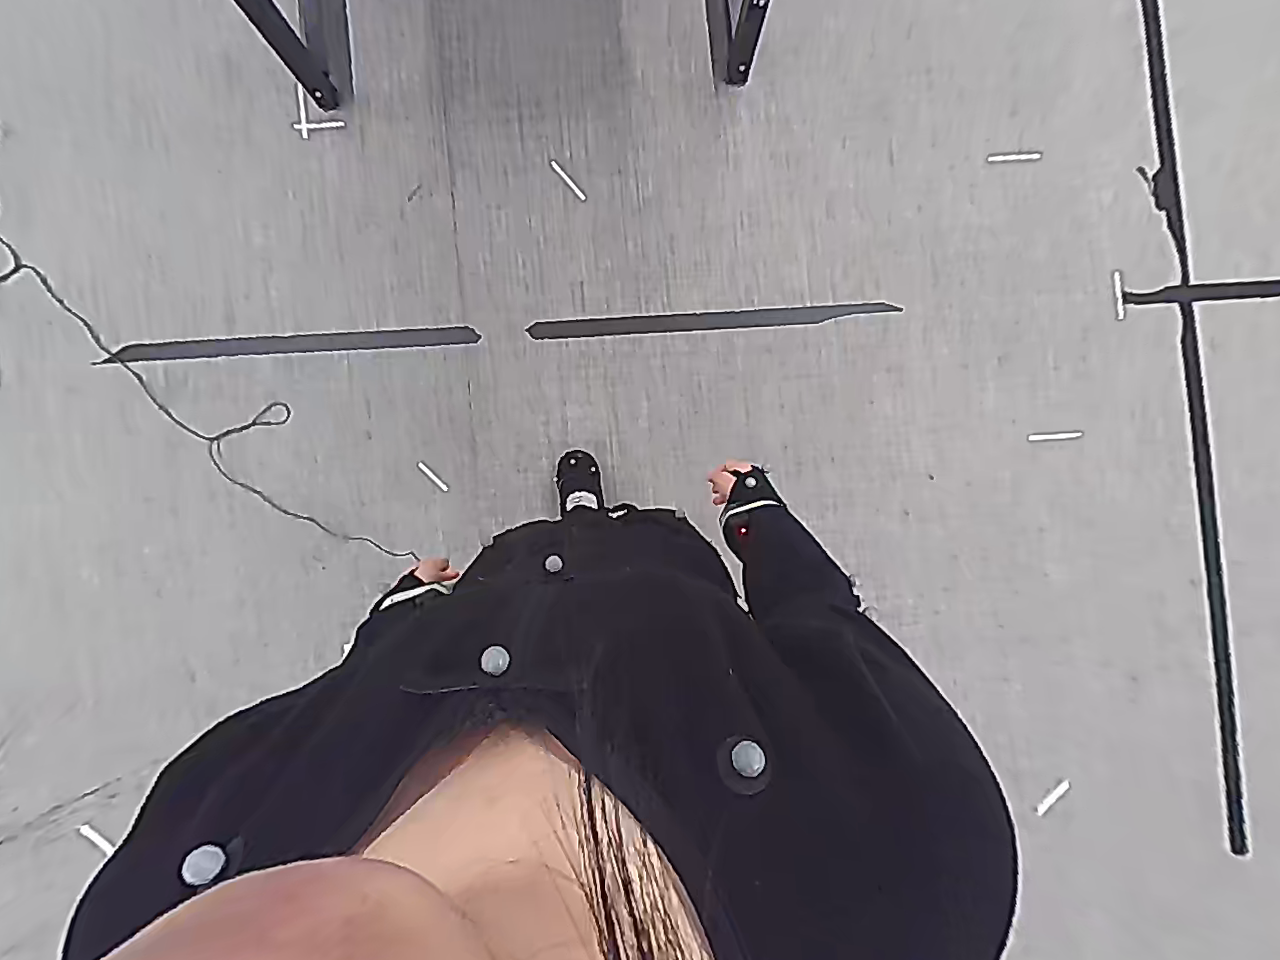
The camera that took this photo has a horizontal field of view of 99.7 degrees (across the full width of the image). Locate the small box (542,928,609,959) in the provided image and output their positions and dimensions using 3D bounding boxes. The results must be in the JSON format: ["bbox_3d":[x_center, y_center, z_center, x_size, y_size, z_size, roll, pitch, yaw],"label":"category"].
[{"bbox_3d":[-0.167,1.307,1.398,0.168,0.176,0.179,-7,89,-1],"label":"small box"}]
